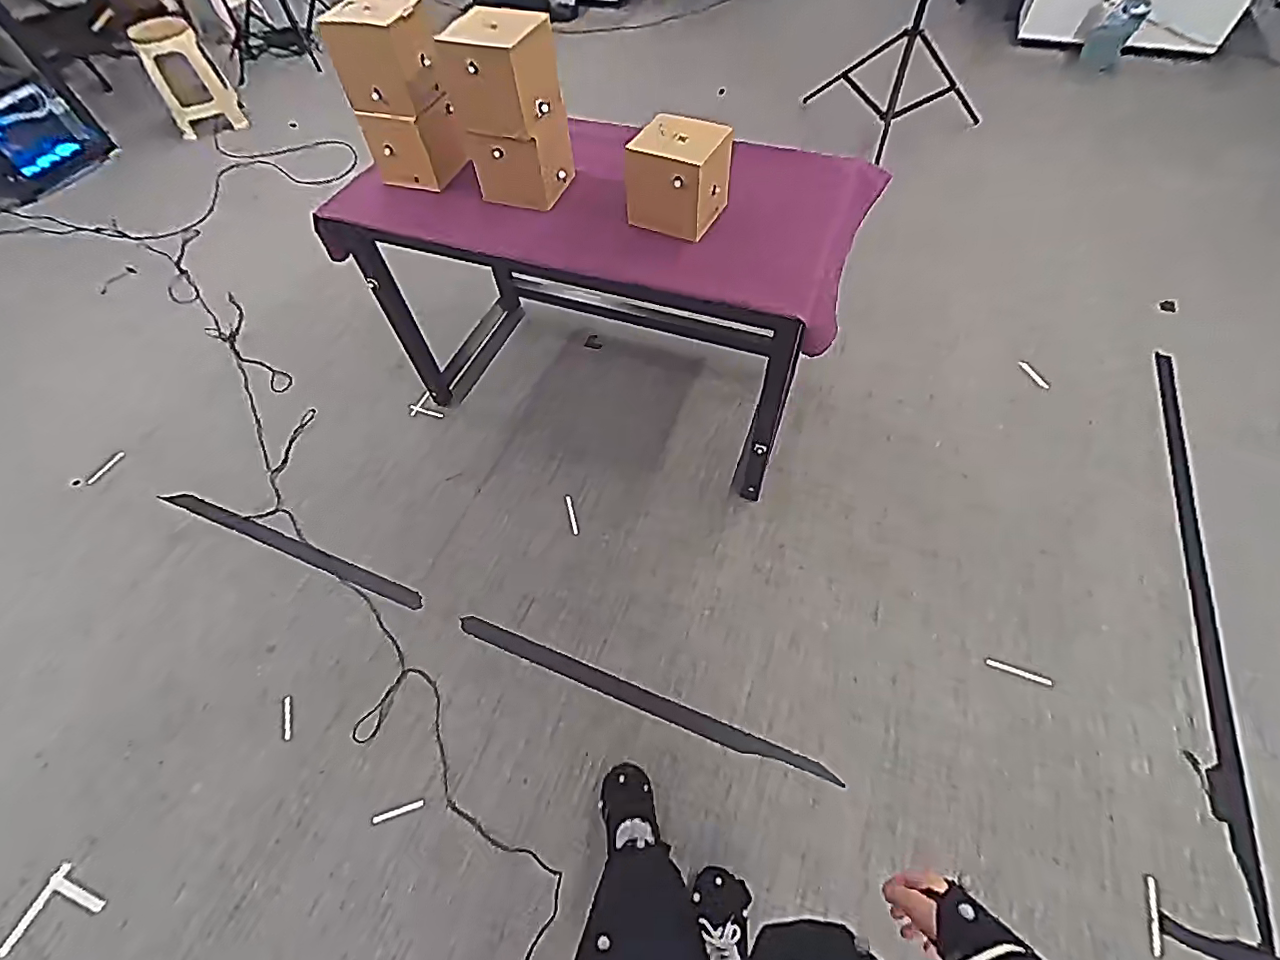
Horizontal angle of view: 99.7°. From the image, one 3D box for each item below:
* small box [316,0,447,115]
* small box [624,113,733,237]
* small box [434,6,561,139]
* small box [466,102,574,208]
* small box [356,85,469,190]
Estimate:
[{"bbox_3d":[-0.558,-0.942,1.200,0.179,0.176,0.168,13,59,10],"label":"small box"},{"bbox_3d":[0.085,-0.659,1.179,0.179,0.176,0.168,23,61,17],"label":"small box"},{"bbox_3d":[-0.285,-0.843,1.124,0.179,0.176,0.168,18,62,12],"label":"small box"},{"bbox_3d":[-0.272,-0.767,1.267,0.179,0.176,0.168,16,60,12],"label":"small box"},{"bbox_3d":[-0.548,-0.846,1.333,0.168,0.176,0.179,14,59,12],"label":"small box"}]
